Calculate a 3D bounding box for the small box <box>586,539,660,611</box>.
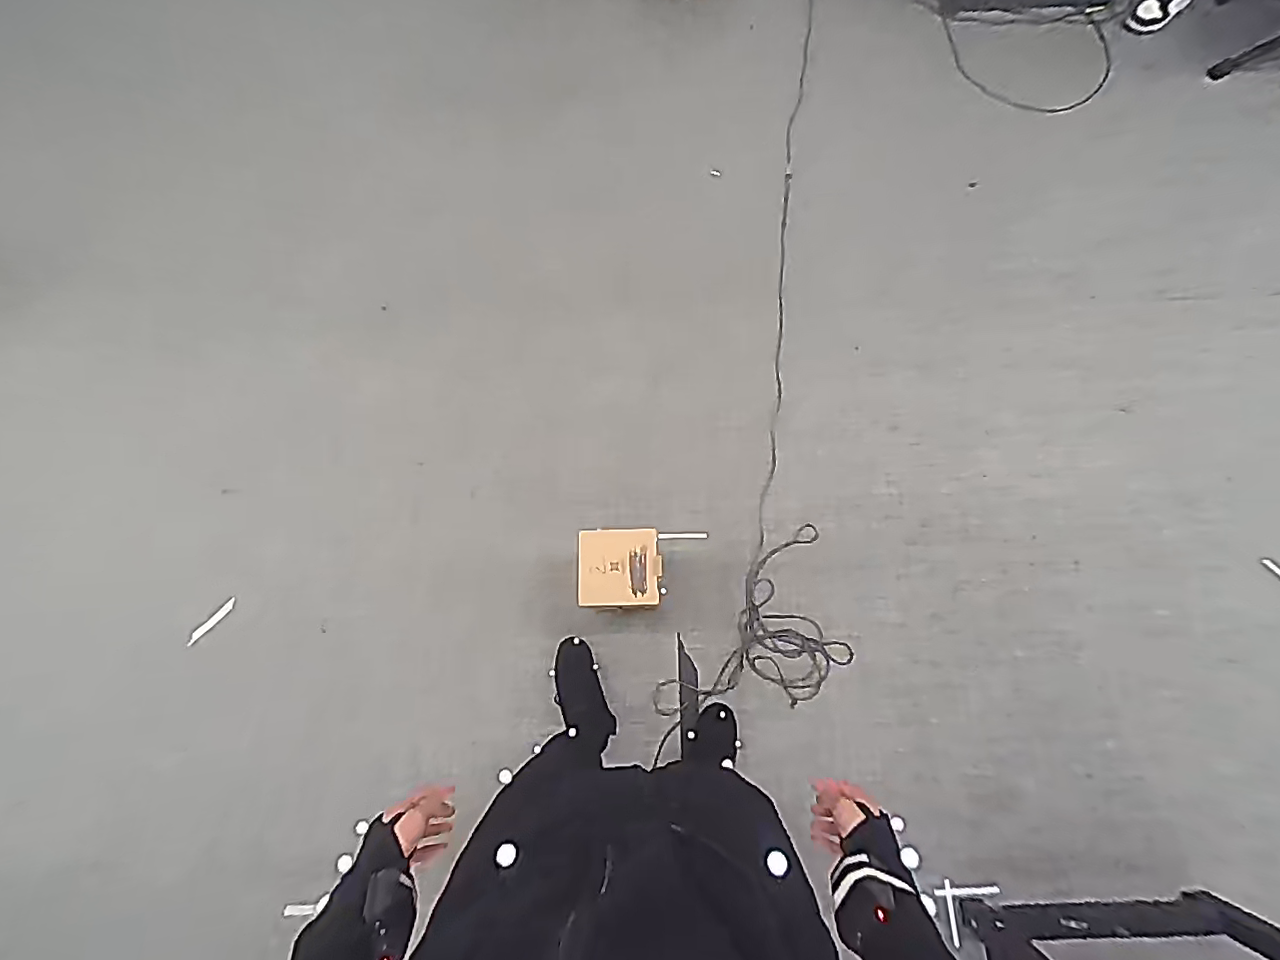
[{"bbox_3d":[-0.041,0.250,1.402,0.179,0.176,0.168,-3,76,1],"label":"small box"}]
